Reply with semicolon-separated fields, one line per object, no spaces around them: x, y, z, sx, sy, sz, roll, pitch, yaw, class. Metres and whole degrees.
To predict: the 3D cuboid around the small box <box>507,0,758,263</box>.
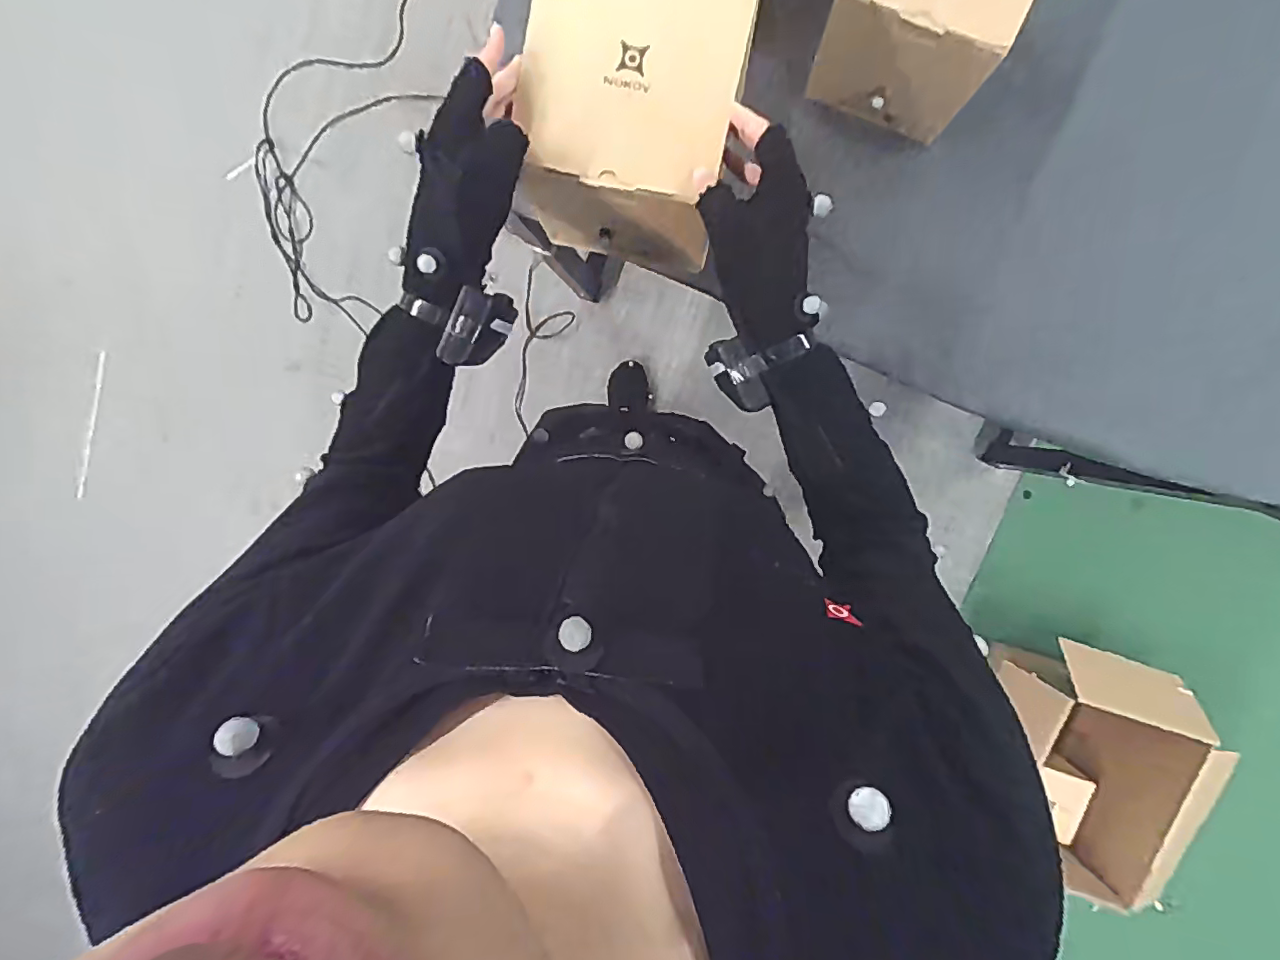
-0.003;-0.322;0.487;0.168;0.176;0.179;13;97;2;small box

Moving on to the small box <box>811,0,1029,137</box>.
0.298;-0.509;0.562;0.168;0.176;0.179;23;99;2;small box
